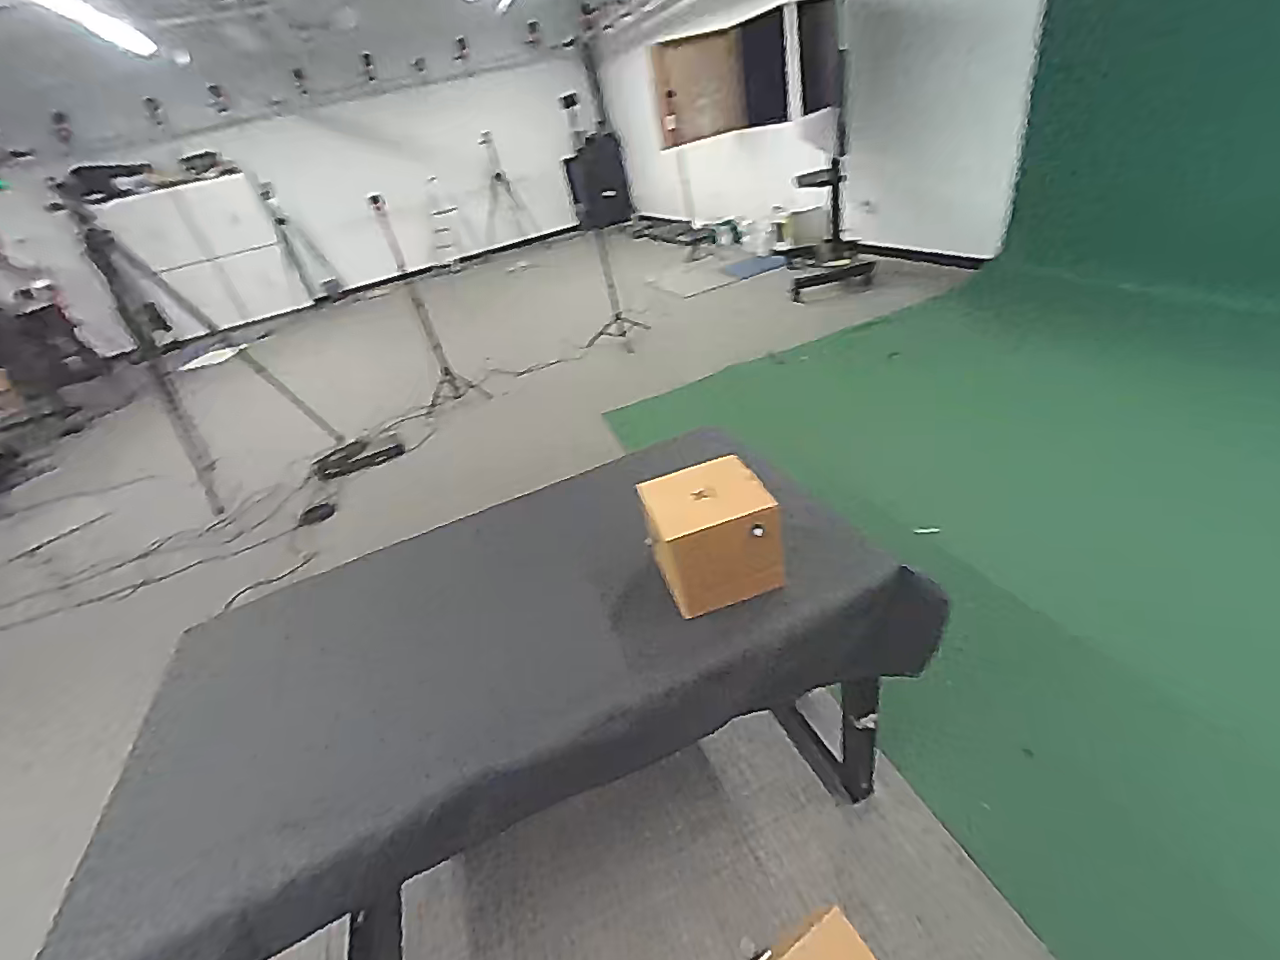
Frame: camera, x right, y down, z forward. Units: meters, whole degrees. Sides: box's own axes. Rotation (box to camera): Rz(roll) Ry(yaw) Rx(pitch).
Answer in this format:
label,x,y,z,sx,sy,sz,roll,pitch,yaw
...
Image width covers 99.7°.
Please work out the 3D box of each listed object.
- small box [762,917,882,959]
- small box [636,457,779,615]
label,x,y,z,sx,sy,sz,roll,pitch,yaw
small box,0.126,0.420,0.344,0.168,0.176,0.179,-31,52,-13
small box,0.111,0.091,0.882,0.179,0.176,0.168,-18,32,-7
